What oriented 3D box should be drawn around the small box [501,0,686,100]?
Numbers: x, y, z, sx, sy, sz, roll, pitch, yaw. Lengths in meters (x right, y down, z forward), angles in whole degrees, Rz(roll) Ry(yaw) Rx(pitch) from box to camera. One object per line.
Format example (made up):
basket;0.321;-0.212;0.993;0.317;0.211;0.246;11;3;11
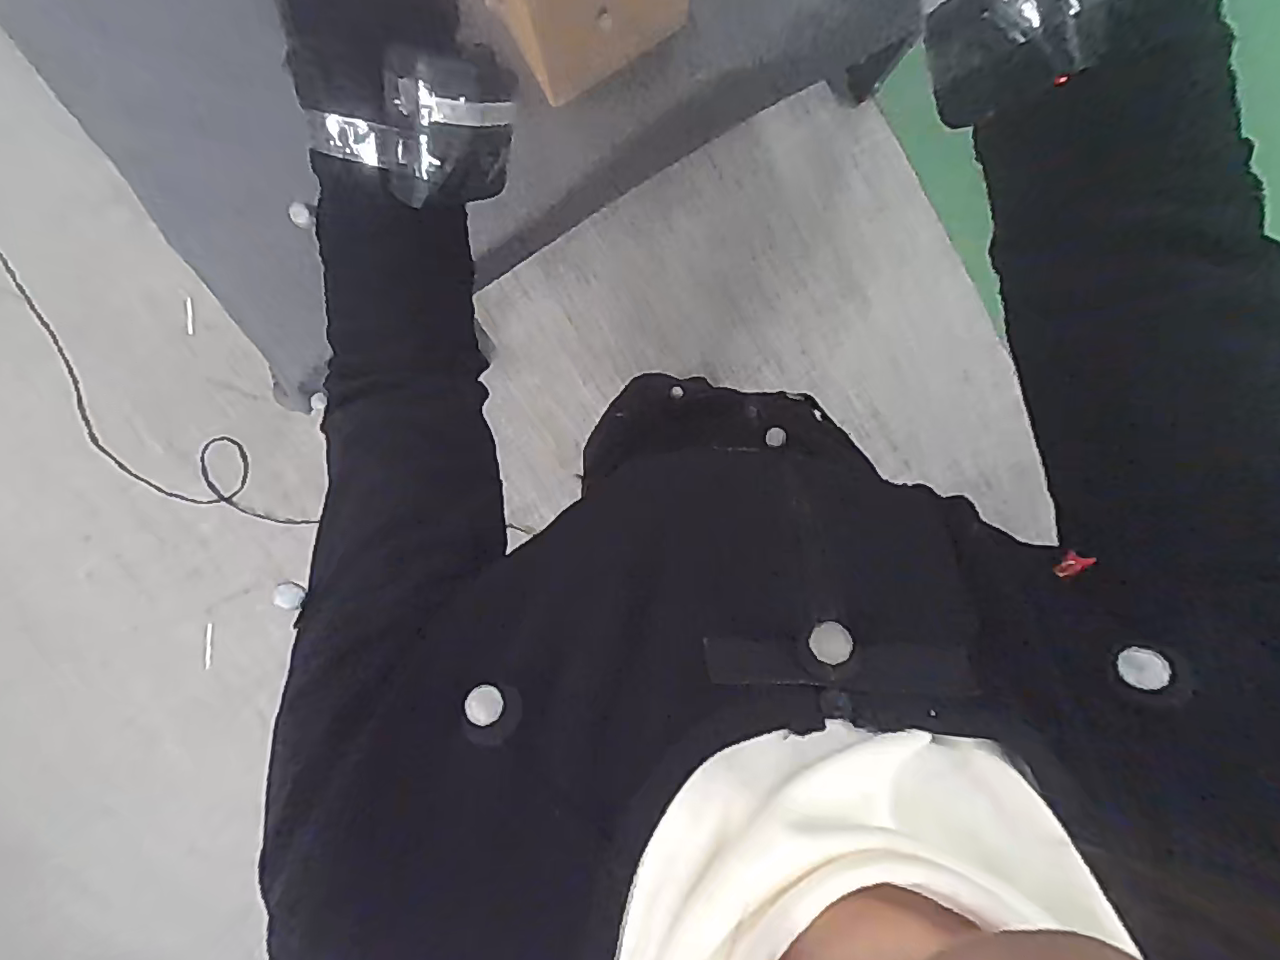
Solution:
small box;-0.061;-0.520;0.518;0.179;0.176;0.168;-30;98;6
